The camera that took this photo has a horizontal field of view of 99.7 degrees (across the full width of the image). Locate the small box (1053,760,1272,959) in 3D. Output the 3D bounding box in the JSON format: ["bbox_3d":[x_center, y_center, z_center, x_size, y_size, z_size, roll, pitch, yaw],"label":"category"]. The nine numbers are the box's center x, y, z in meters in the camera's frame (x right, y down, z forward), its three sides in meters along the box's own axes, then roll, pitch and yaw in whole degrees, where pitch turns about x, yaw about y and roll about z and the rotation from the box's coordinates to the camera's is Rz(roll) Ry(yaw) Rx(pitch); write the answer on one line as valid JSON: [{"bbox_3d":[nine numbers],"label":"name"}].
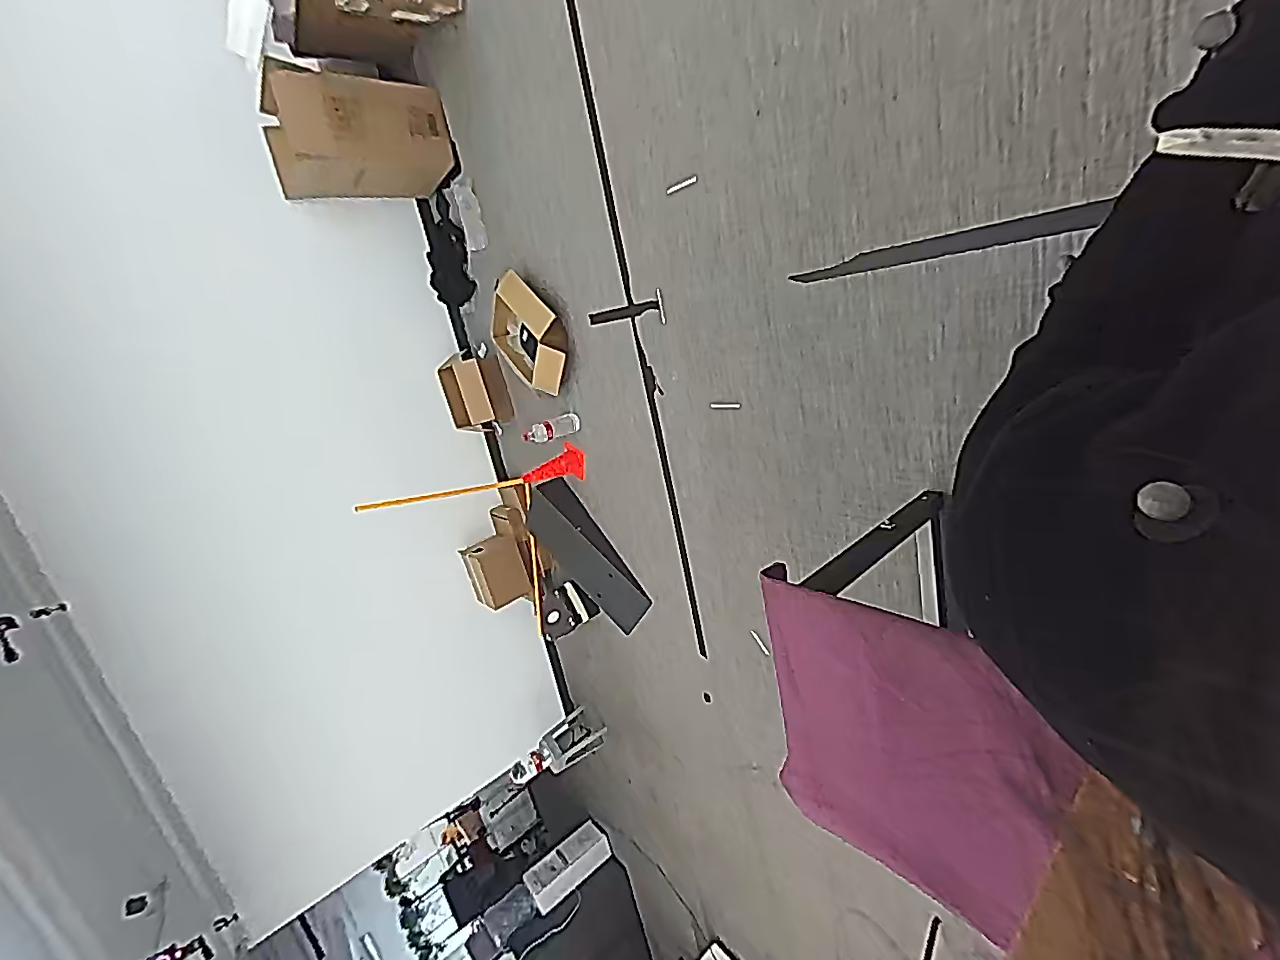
[{"bbox_3d":[0.646,0.503,0.675,0.168,0.176,0.179,12,120,50],"label":"small box"}]
